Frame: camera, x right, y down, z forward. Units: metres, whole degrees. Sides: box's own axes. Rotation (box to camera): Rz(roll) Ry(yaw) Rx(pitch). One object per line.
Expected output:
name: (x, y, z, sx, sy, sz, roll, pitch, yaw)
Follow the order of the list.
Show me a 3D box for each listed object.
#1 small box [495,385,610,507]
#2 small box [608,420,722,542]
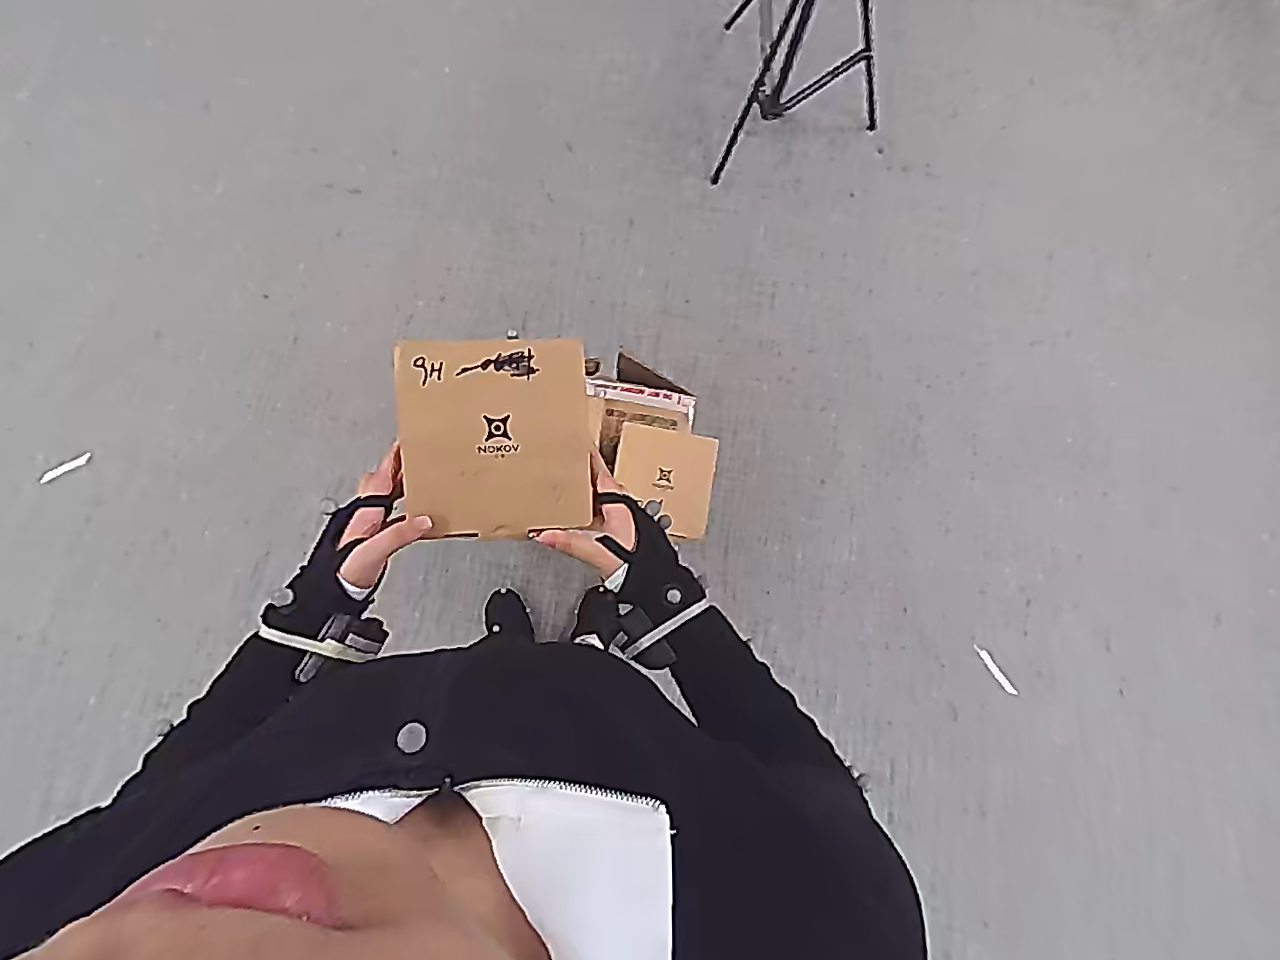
small box: (-0.147, -0.053, 0.967, 0.168, 0.176, 0.179, 8, 83, -1)
small box: (0.037, 0.010, 0.969, 0.168, 0.176, 0.179, 10, 82, -3)
